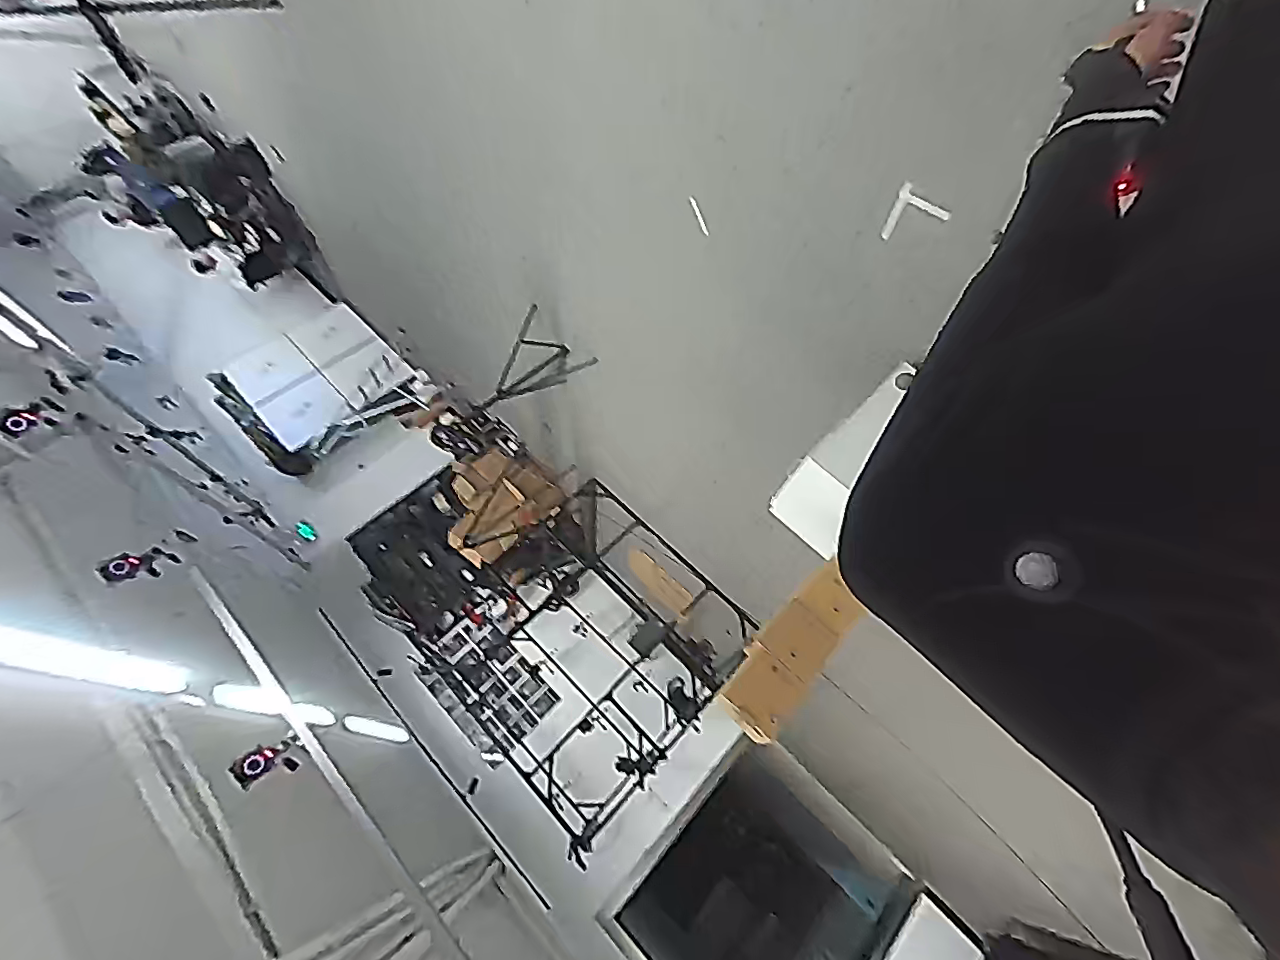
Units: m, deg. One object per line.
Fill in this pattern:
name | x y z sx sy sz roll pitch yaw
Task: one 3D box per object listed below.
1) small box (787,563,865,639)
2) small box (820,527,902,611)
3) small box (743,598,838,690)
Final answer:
small box | 0.542 0.375 1.618 0.168 0.176 0.179 42 158 16
small box | 0.664 0.278 1.664 0.179 0.176 0.168 42 157 17
small box | 0.428 0.467 1.540 0.179 0.176 0.168 42 157 16
